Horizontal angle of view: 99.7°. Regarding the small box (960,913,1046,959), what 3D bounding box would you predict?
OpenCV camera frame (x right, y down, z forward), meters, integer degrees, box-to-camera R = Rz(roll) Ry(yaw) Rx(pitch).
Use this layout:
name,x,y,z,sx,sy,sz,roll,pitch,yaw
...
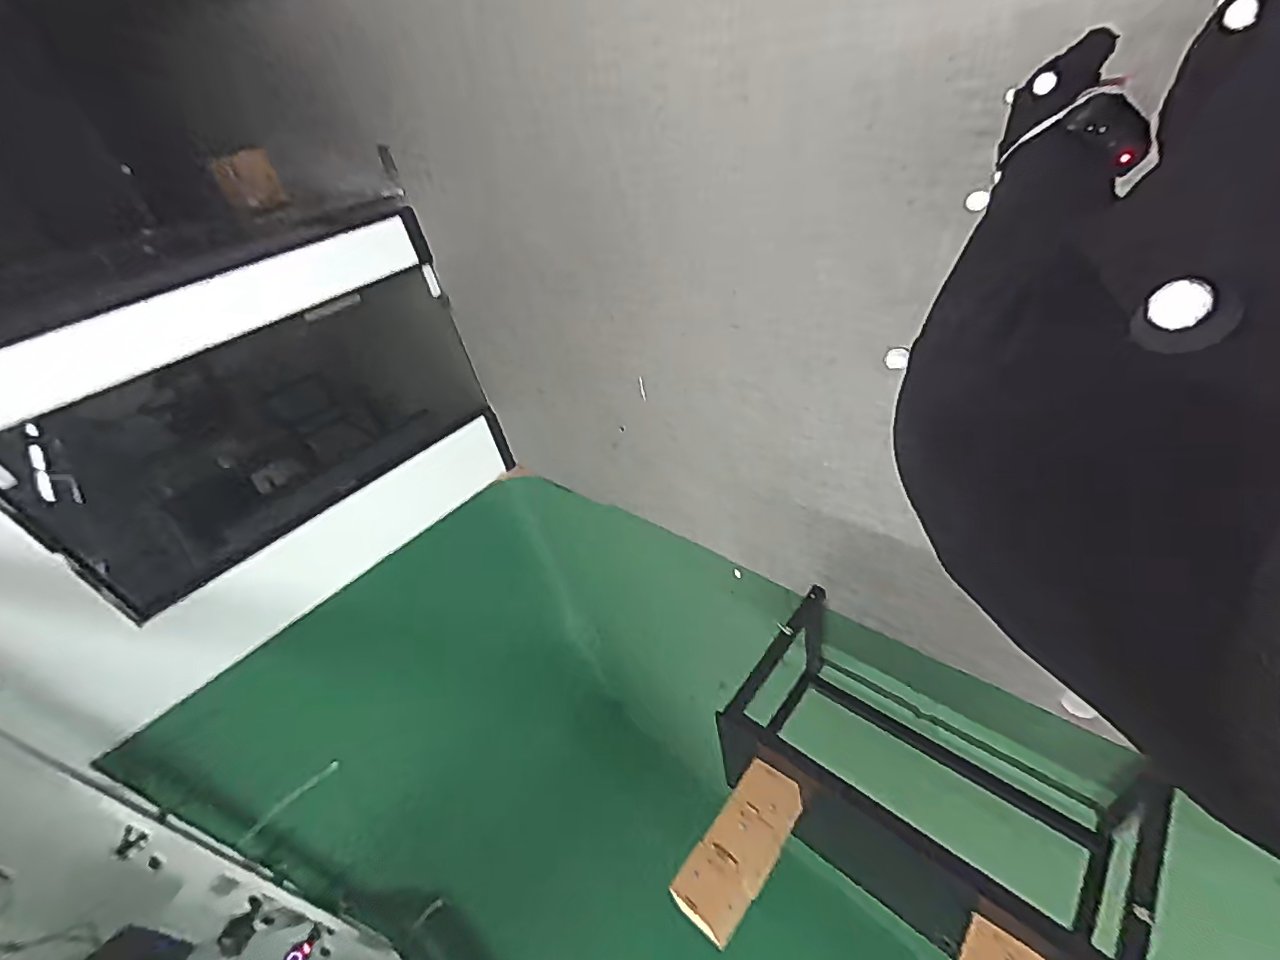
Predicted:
name,x,y,z,sx,sy,sz,roll,pitch,yaw
small box,0.965,1.324,1.445,0.168,0.176,0.179,16,134,43

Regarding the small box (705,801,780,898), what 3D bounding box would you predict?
name,x,y,z,sx,sy,sz,roll,pitch,yaw
small box,0.343,1.205,1.773,0.168,0.176,0.179,15,135,42

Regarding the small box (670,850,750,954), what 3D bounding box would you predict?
name,x,y,z,sx,sy,sz,roll,pitch,yaw
small box,0.222,1.304,1.684,0.168,0.176,0.179,16,136,42
